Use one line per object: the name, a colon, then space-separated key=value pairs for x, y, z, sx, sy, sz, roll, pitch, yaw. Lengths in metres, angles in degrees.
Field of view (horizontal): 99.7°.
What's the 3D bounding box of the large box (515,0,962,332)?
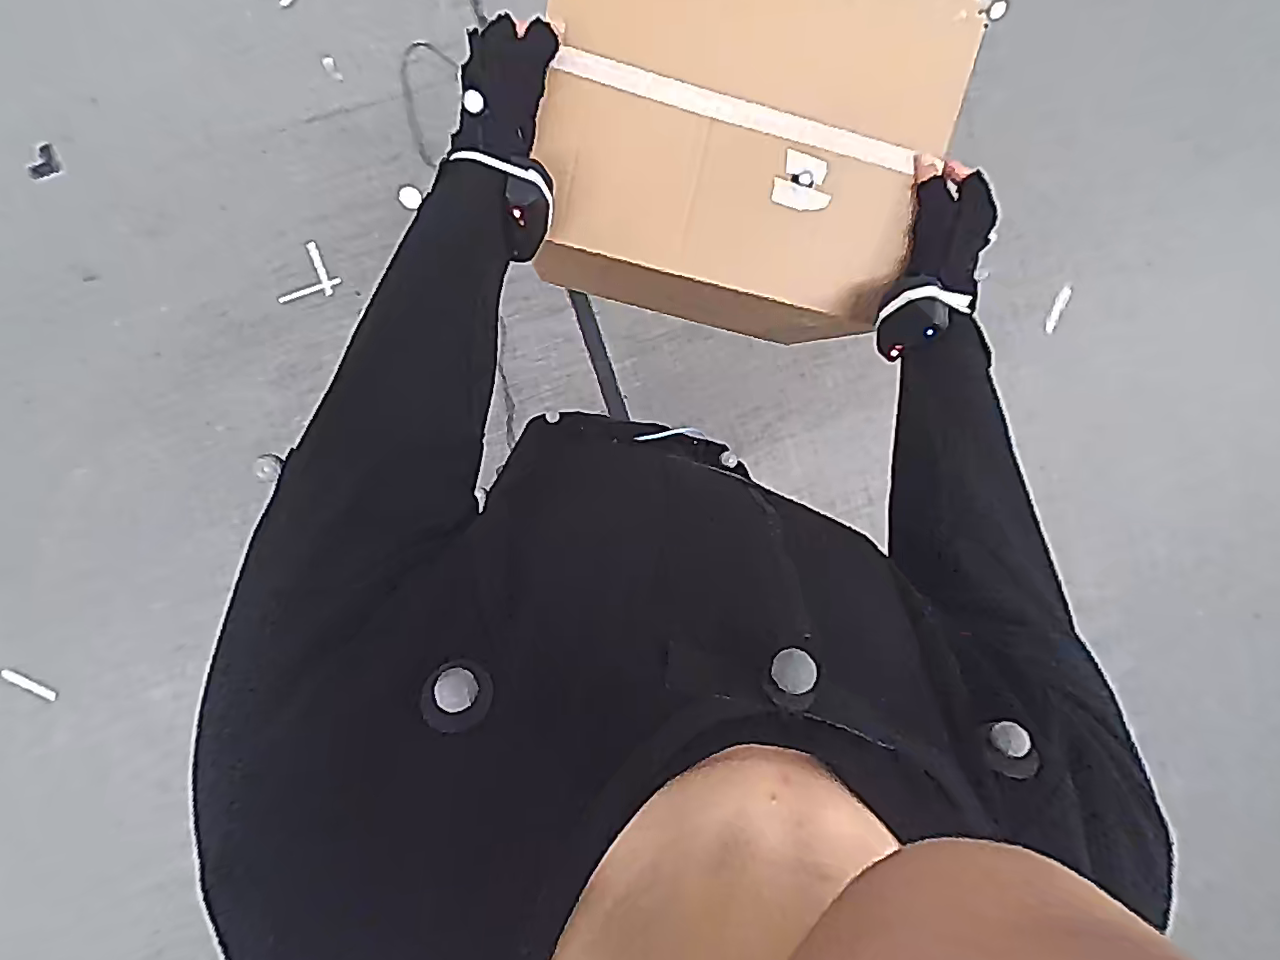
large box: x=0.081 y=-0.387 z=0.675 sx=0.408 sy=0.320 sz=0.320 roll=11 pitch=101 yaw=-8
